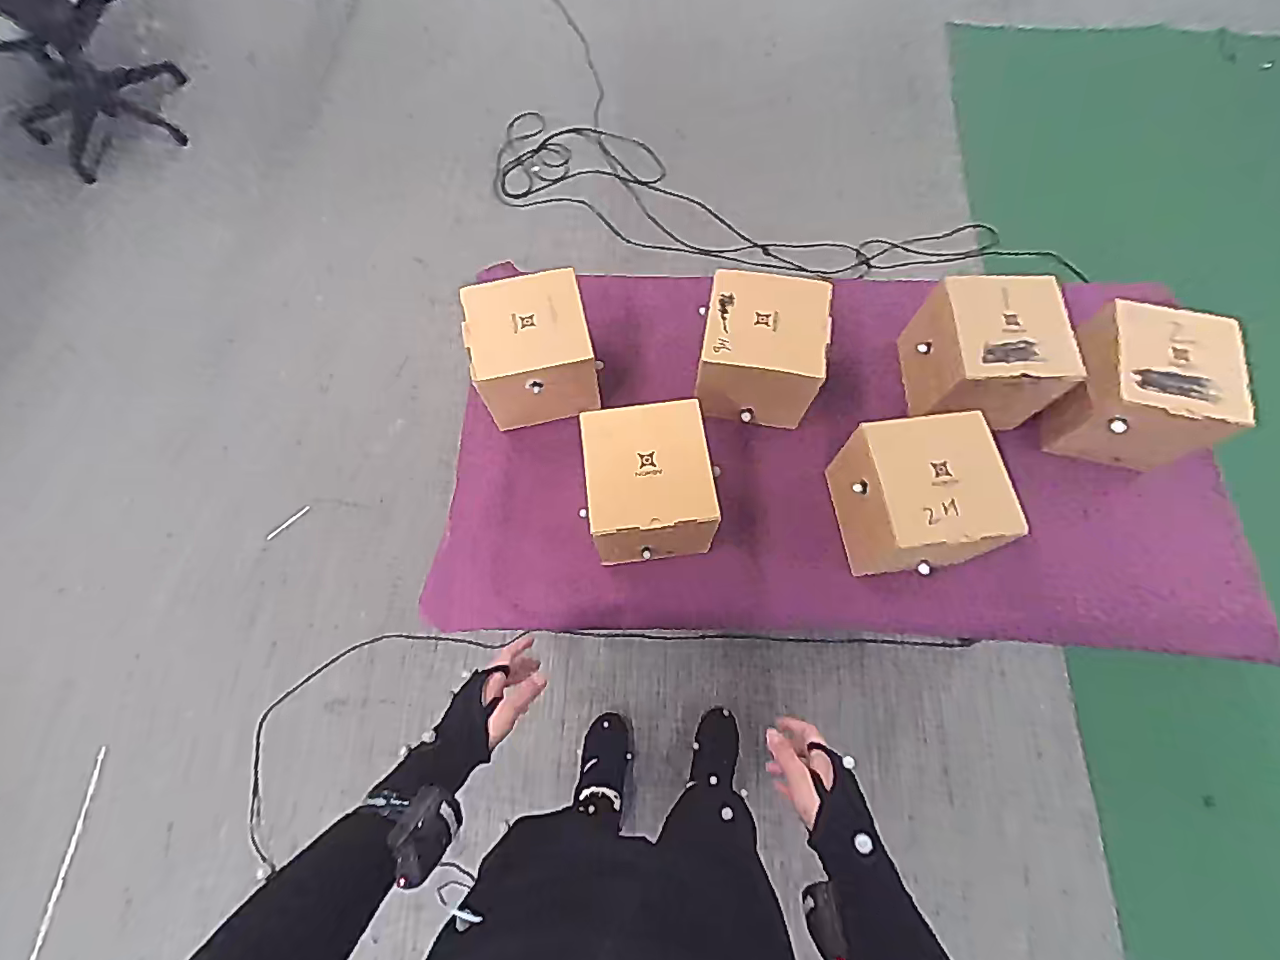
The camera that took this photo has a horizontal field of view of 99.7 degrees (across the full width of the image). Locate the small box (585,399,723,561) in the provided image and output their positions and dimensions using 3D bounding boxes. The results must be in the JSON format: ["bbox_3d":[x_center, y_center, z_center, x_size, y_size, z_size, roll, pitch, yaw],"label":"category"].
[{"bbox_3d":[0.014,0.007,0.780,0.168,0.176,0.179,-7,69,-2],"label":"small box"}]

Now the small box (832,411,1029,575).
[{"bbox_3d":[0.388,0.025,0.763,0.168,0.176,0.179,-6,69,0],"label":"small box"}]

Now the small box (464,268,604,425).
[{"bbox_3d":[-0.161,-0.203,0.860,0.179,0.176,0.168,-12,71,-4],"label":"small box"}]
